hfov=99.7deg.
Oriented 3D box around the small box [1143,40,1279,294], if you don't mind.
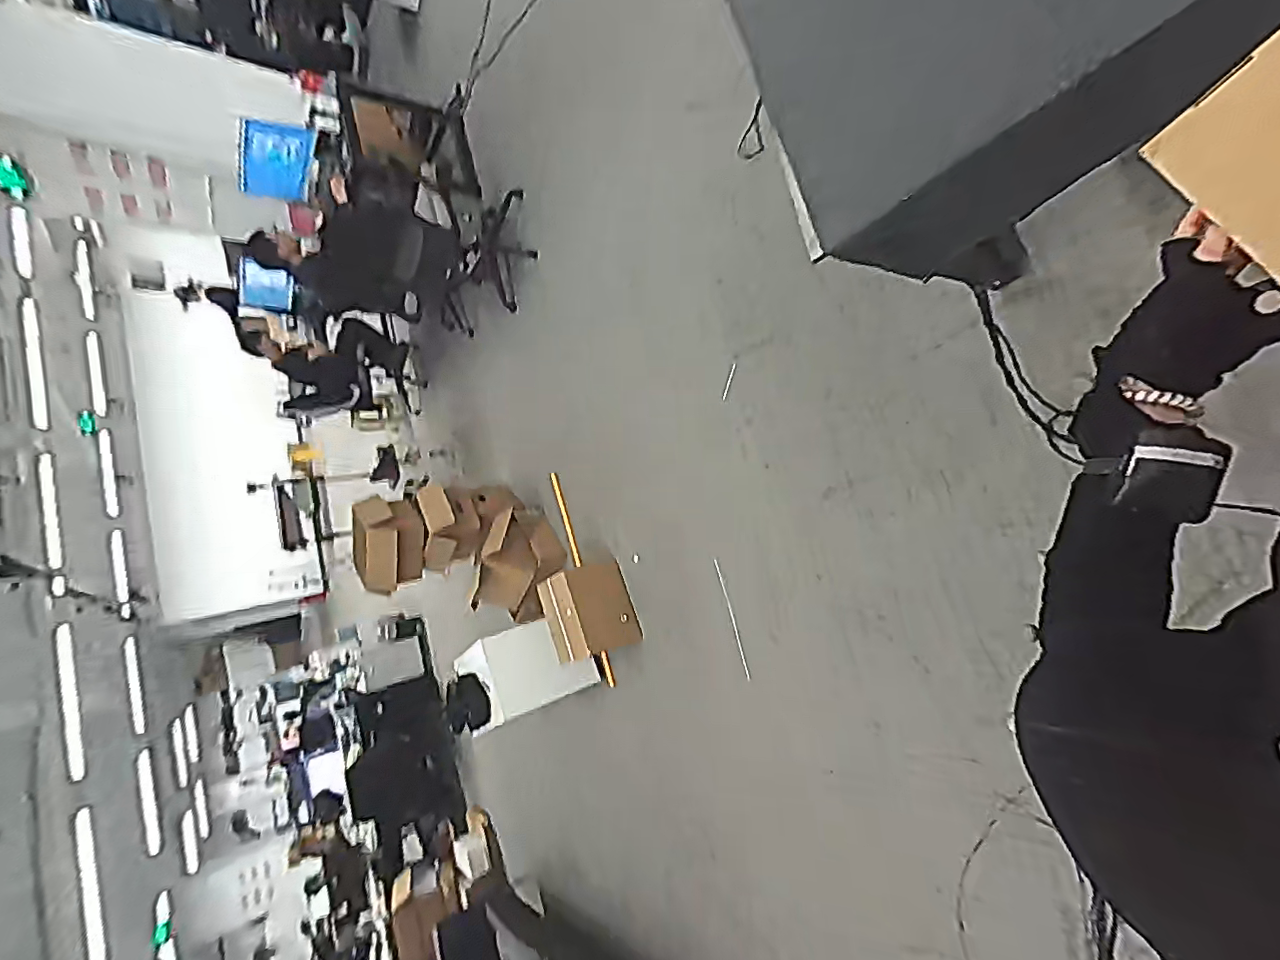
[{"bbox_3d":[0.474,-0.208,0.328,0.179,0.176,0.168,60,142,14],"label":"small box"}]
